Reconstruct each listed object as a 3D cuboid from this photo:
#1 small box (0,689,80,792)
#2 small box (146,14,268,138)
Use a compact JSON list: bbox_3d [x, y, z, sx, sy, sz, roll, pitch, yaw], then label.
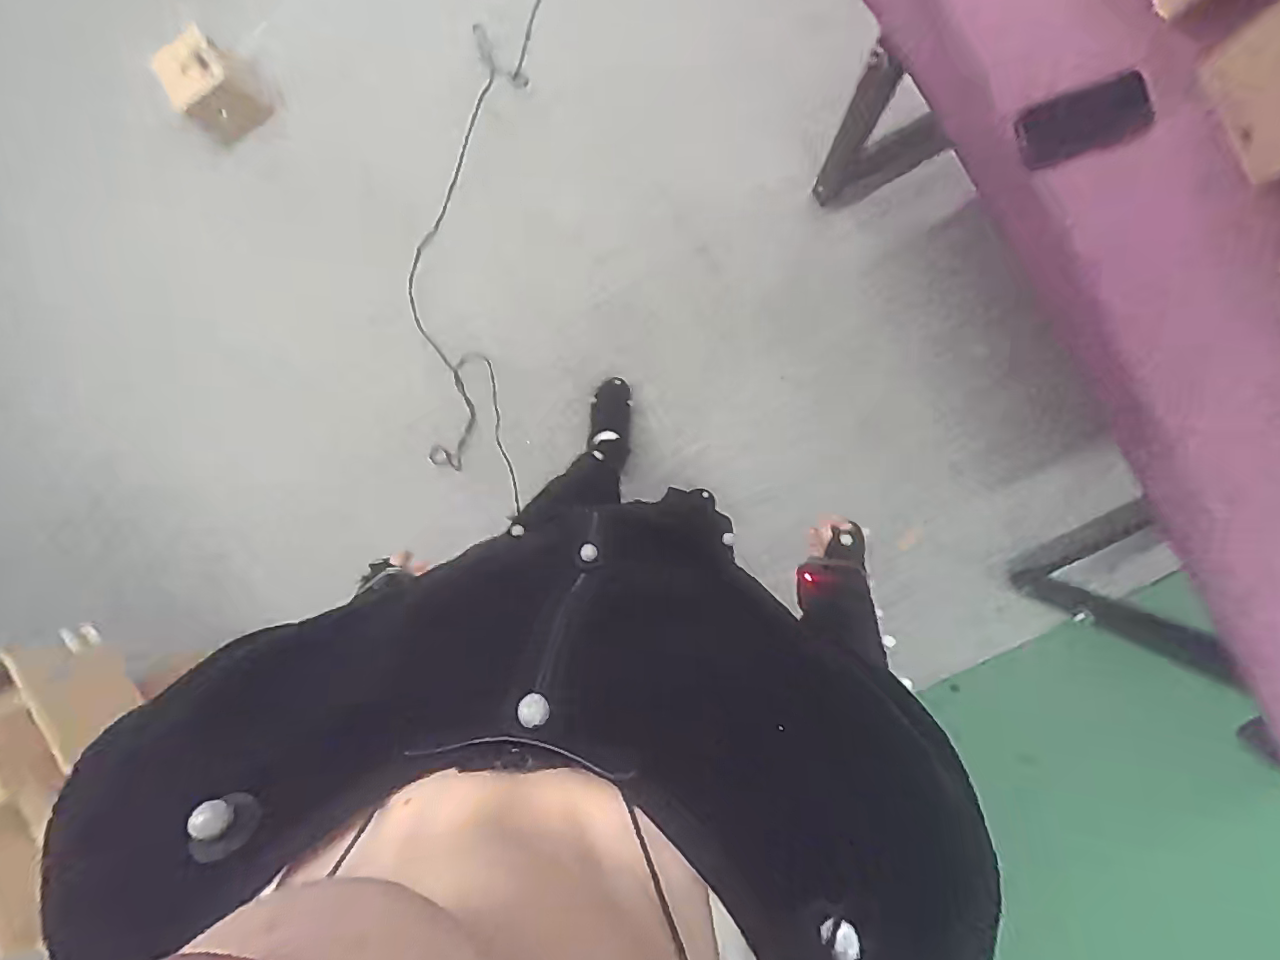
[{"bbox_3d":[-1.403,0.591,1.177,0.179,0.176,0.168,-25,92,8],"label":"small box"},{"bbox_3d":[-1.166,-1.092,1.477,0.179,0.176,0.168,-29,90,8],"label":"small box"}]
